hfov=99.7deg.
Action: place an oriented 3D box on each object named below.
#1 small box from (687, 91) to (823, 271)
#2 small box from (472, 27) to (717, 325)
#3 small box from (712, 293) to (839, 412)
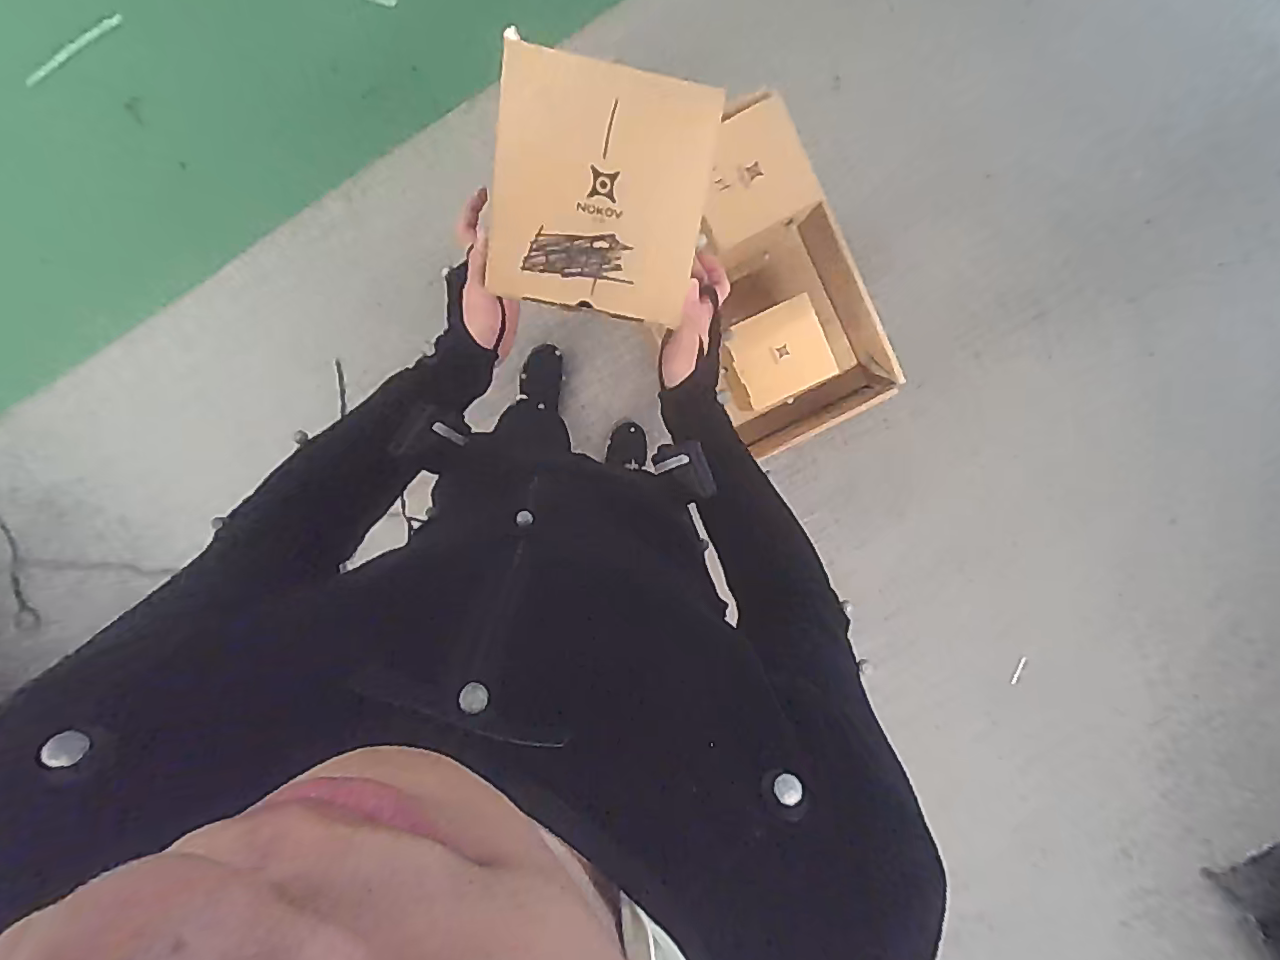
[{"bbox_3d":[0.161,-0.468,0.877,0.179,0.176,0.168,-27,97,3],"label":"small box"},{"bbox_3d":[-0.042,-0.249,0.483,0.168,0.176,0.179,9,110,-6],"label":"small box"},{"bbox_3d":[0.260,-0.248,1.077,0.179,0.176,0.168,-25,98,4],"label":"small box"}]
